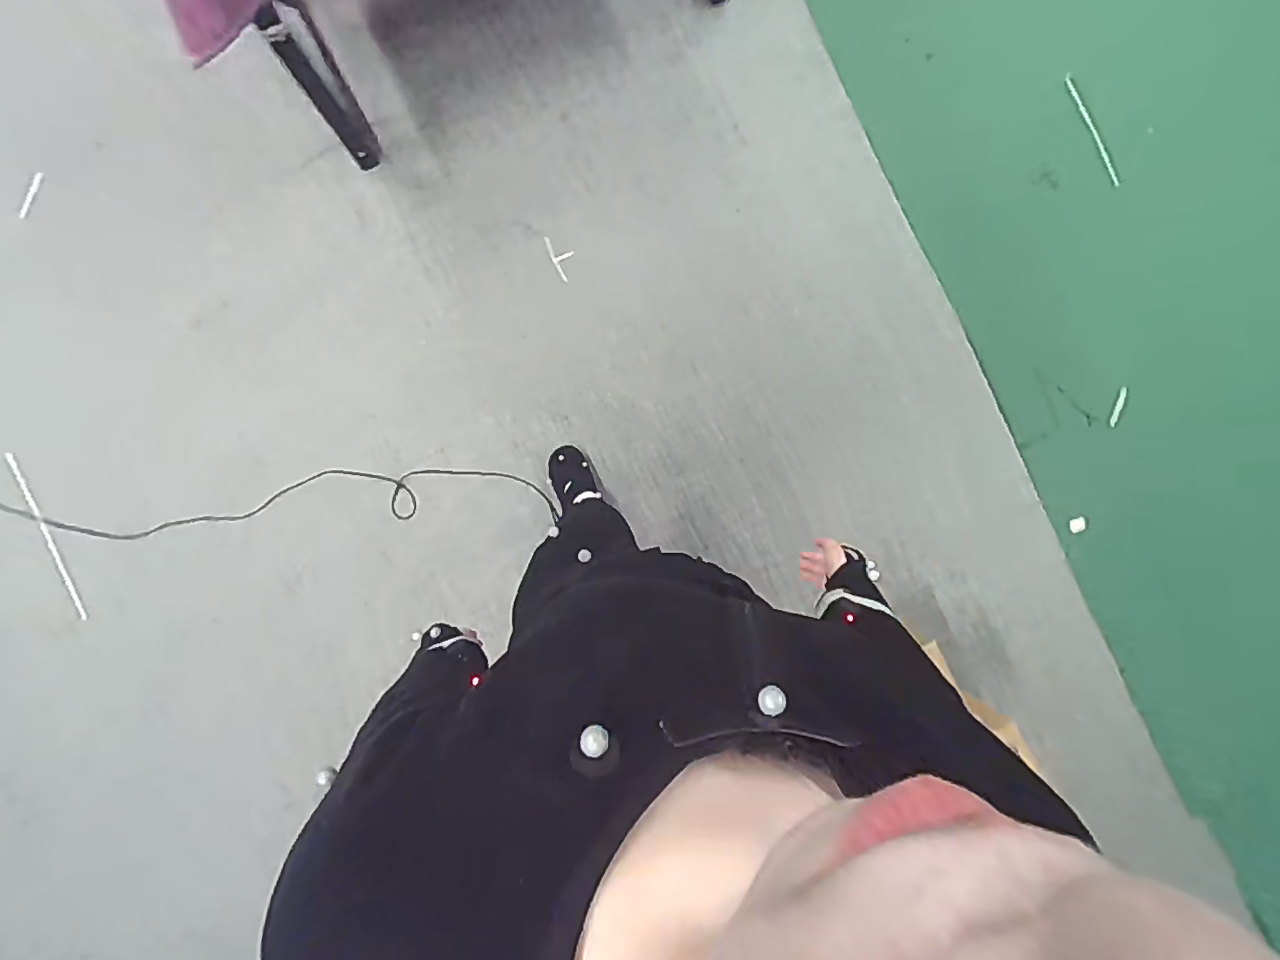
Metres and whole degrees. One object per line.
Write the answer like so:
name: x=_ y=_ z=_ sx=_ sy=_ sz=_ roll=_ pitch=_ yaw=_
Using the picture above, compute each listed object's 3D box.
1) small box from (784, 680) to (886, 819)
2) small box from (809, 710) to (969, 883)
small box: x=0.418 y=0.546 z=1.120 sx=0.179 sy=0.176 sz=0.168 roll=-24 pitch=91 yaw=-3
small box: x=0.428 y=0.545 z=0.957 sx=0.168 sy=0.176 sz=0.179 roll=-23 pitch=89 yaw=-3
